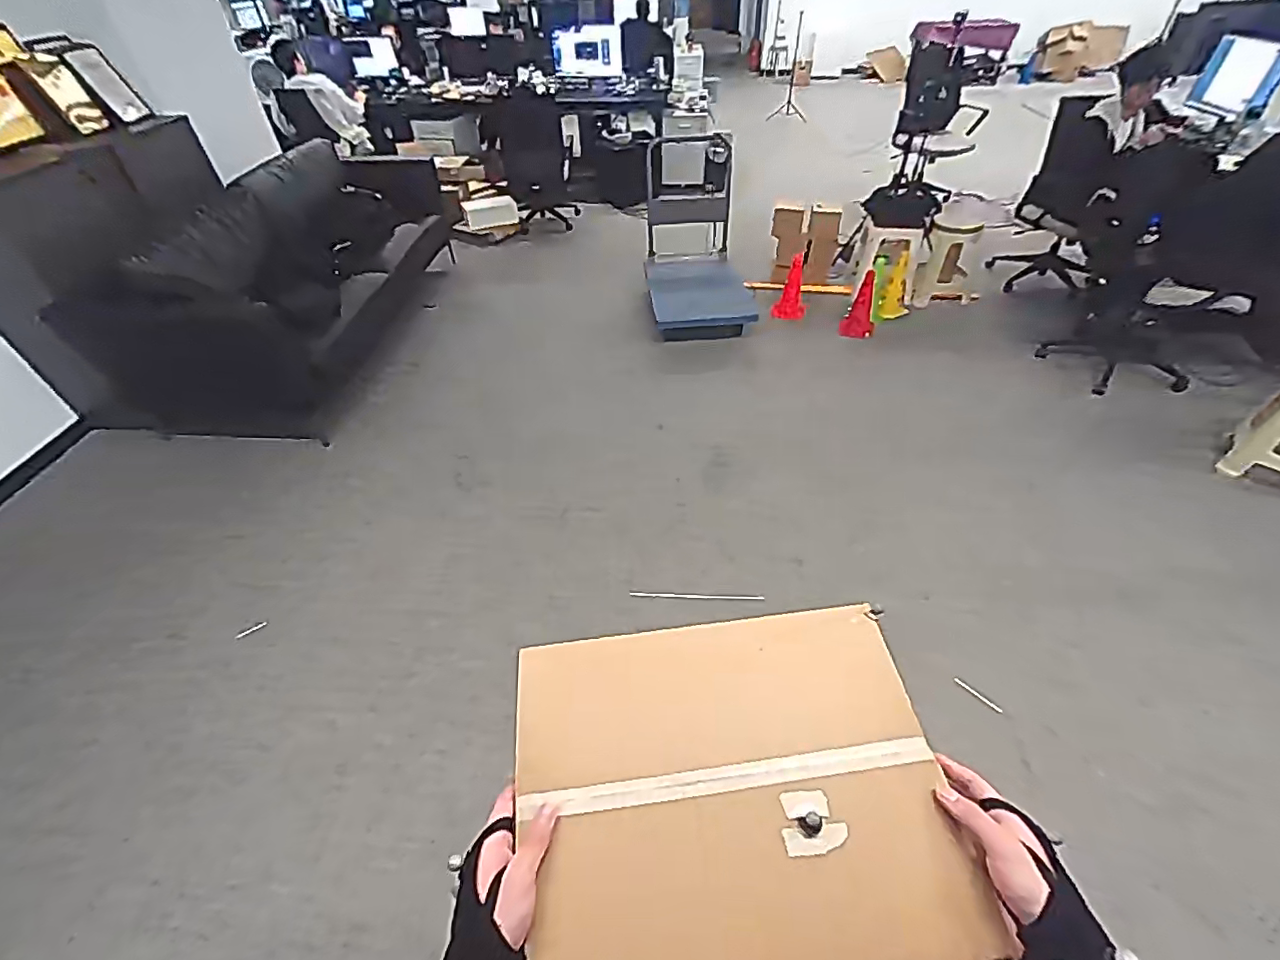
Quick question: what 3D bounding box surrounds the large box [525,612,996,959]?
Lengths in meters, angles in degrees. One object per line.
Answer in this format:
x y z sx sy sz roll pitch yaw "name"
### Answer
0.089 0.393 0.648 0.408 0.320 0.320 -7 51 -3 "large box"
